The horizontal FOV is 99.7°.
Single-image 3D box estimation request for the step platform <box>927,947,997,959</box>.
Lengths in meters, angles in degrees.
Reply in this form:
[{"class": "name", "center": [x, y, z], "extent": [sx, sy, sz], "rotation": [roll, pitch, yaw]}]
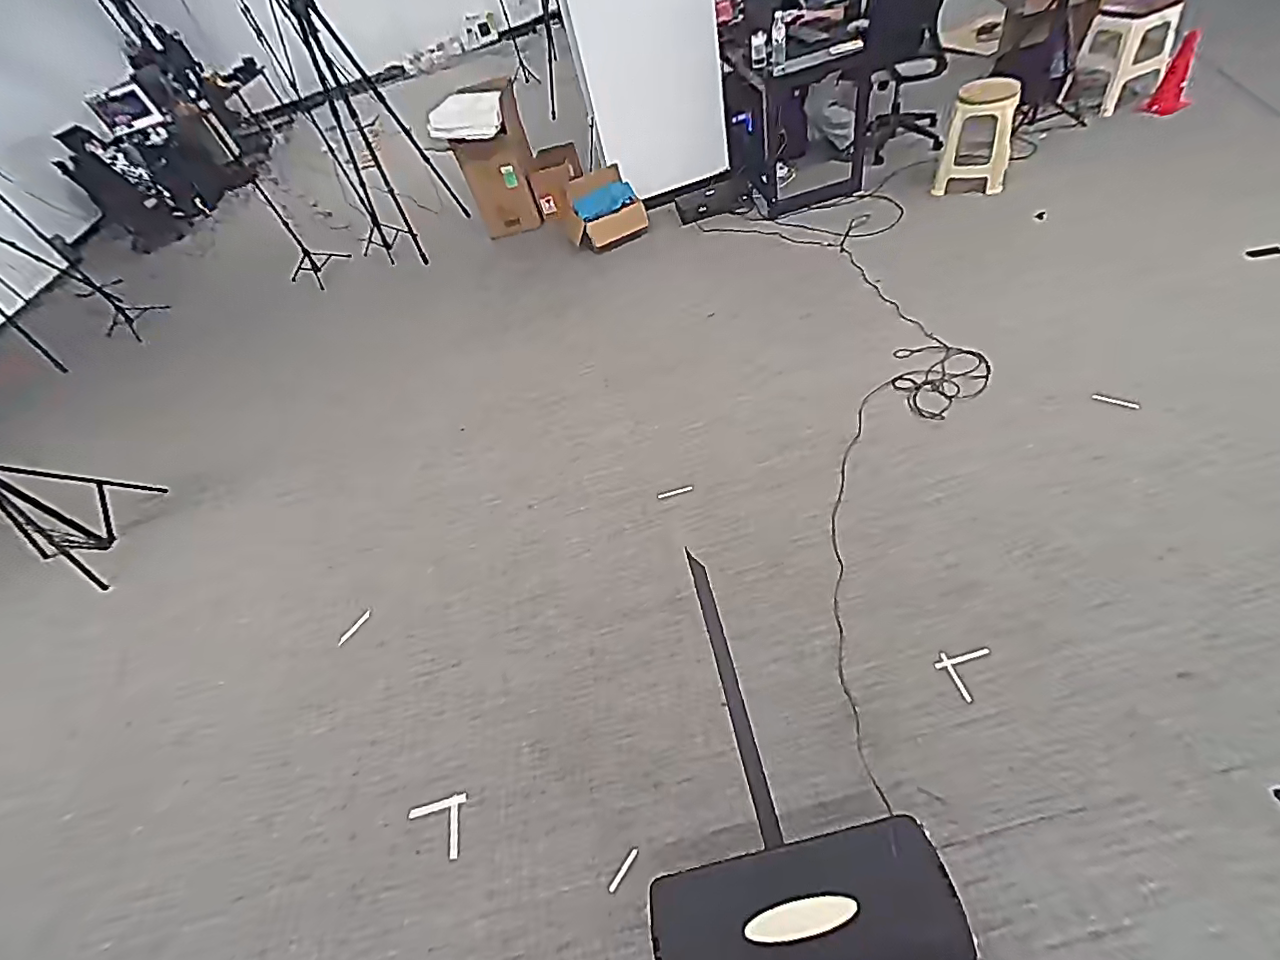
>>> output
[{"class": "step platform", "center": [0.409, 1.126, 1.001], "extent": [0.684, 0.204, 0.286], "rotation": [-18, 47, 3]}]
